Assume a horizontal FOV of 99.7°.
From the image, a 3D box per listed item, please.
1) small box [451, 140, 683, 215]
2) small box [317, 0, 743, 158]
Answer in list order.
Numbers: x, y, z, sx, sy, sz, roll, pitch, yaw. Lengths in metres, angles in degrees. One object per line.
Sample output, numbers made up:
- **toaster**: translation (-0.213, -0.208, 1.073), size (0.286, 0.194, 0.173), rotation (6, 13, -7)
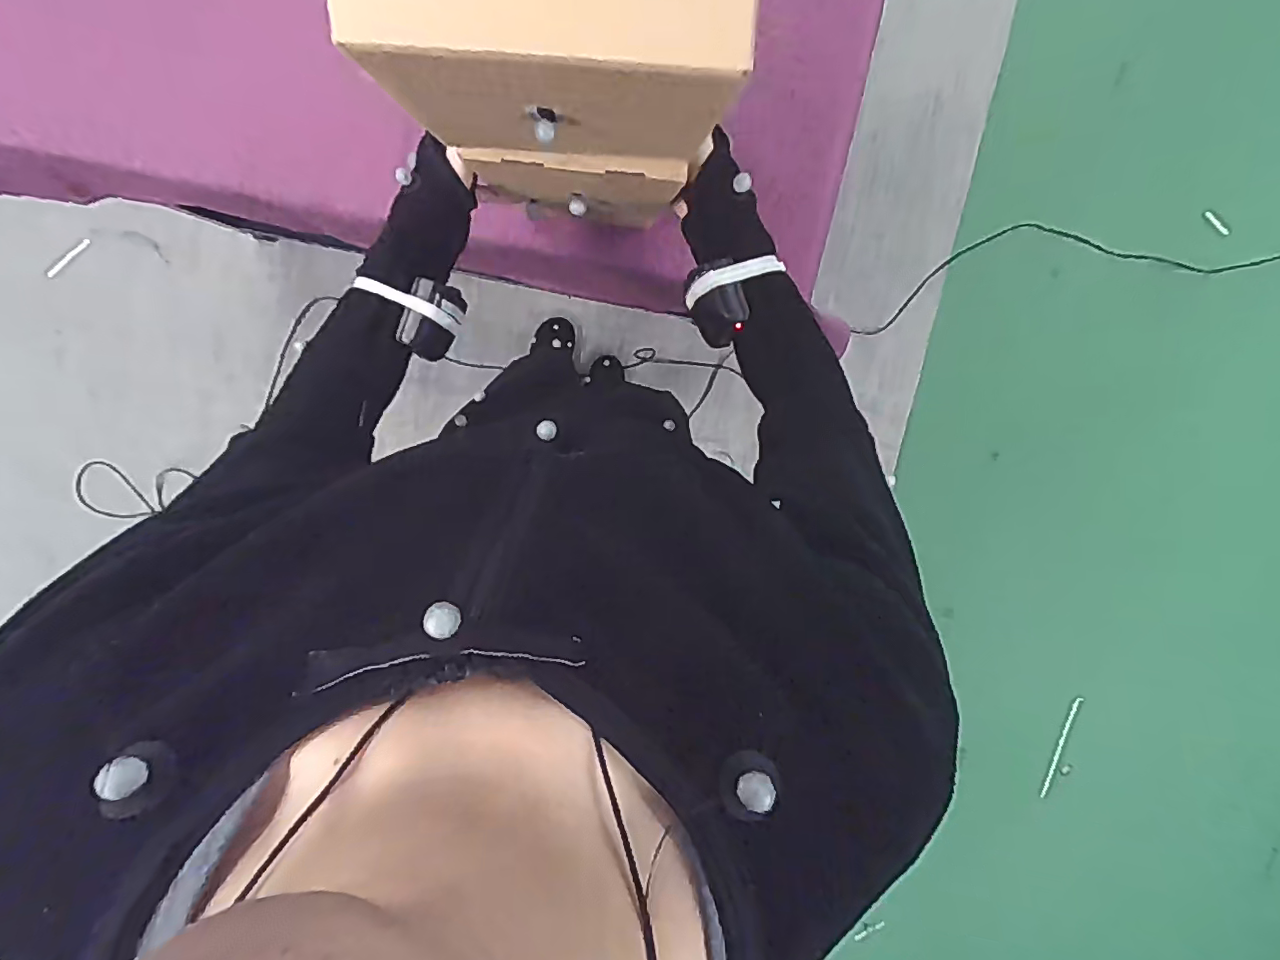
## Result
- **small box**: translation (-0.049, -0.329, 0.435), size (0.168, 0.176, 0.179), rotation (5, 108, -5)
- **small box**: translation (-0.045, -0.280, 0.278), size (0.179, 0.176, 0.168), rotation (2, 108, -4)
